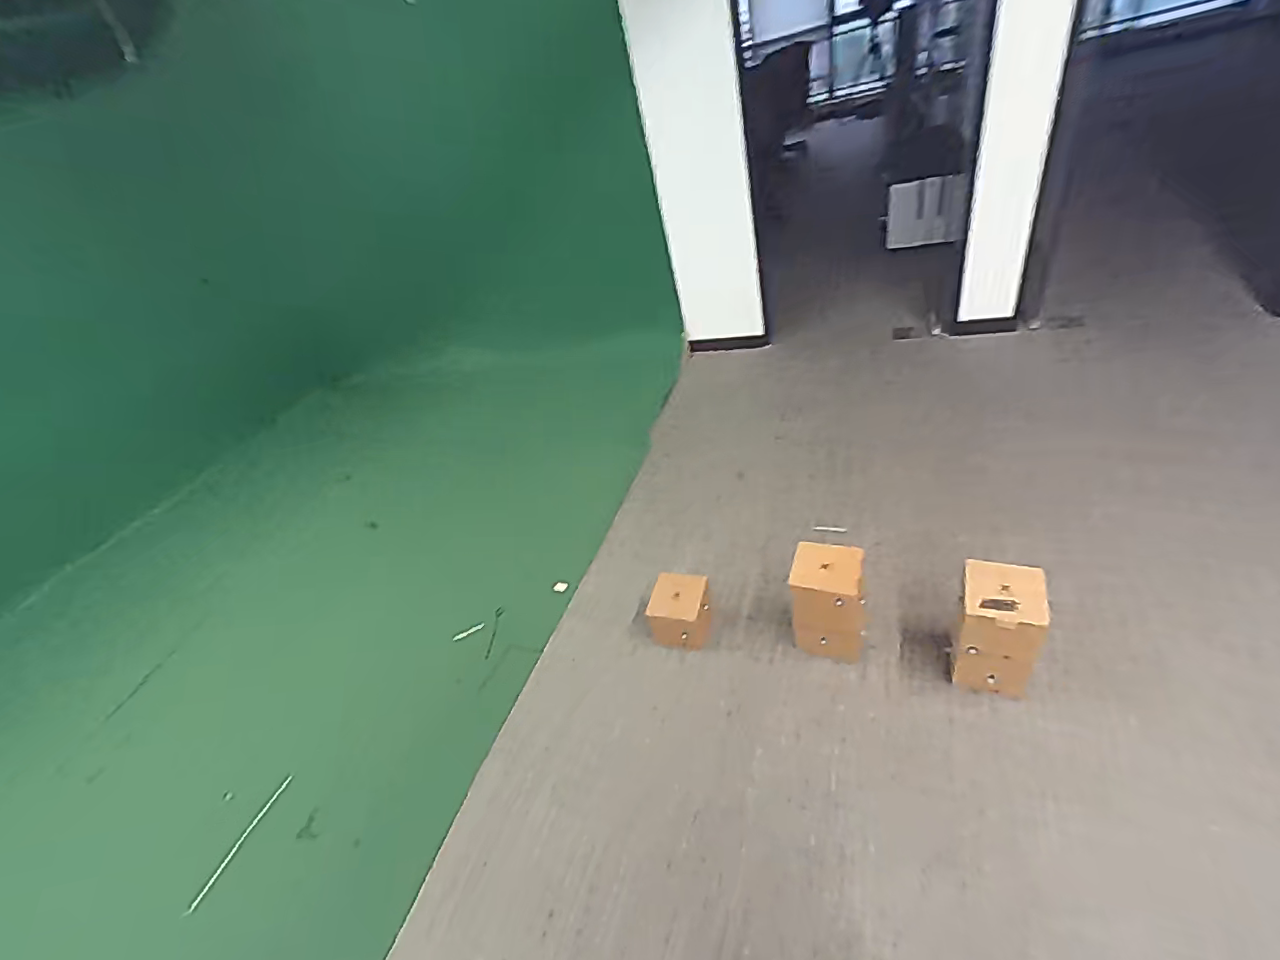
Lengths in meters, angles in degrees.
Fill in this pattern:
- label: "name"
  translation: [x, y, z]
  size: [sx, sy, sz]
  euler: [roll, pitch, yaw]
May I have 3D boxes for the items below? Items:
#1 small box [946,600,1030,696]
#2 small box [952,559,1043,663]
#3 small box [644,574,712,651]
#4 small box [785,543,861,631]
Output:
- label: "small box"
  translation: [0.925, 0.448, 1.446]
  size: [0.168, 0.176, 0.179]
  euler: [4, 43, 25]
- label: "small box"
  translation: [0.882, 0.326, 1.343]
  size: [0.168, 0.176, 0.179]
  euler: [5, 42, 27]
- label: "small box"
  translation: [0.132, 0.436, 1.773]
  size: [0.168, 0.176, 0.179]
  euler: [2, 41, 22]
- label: "small box"
  translation: [0.518, 0.301, 1.520]
  size: [0.179, 0.176, 0.168]
  euler: [5, 43, 27]
